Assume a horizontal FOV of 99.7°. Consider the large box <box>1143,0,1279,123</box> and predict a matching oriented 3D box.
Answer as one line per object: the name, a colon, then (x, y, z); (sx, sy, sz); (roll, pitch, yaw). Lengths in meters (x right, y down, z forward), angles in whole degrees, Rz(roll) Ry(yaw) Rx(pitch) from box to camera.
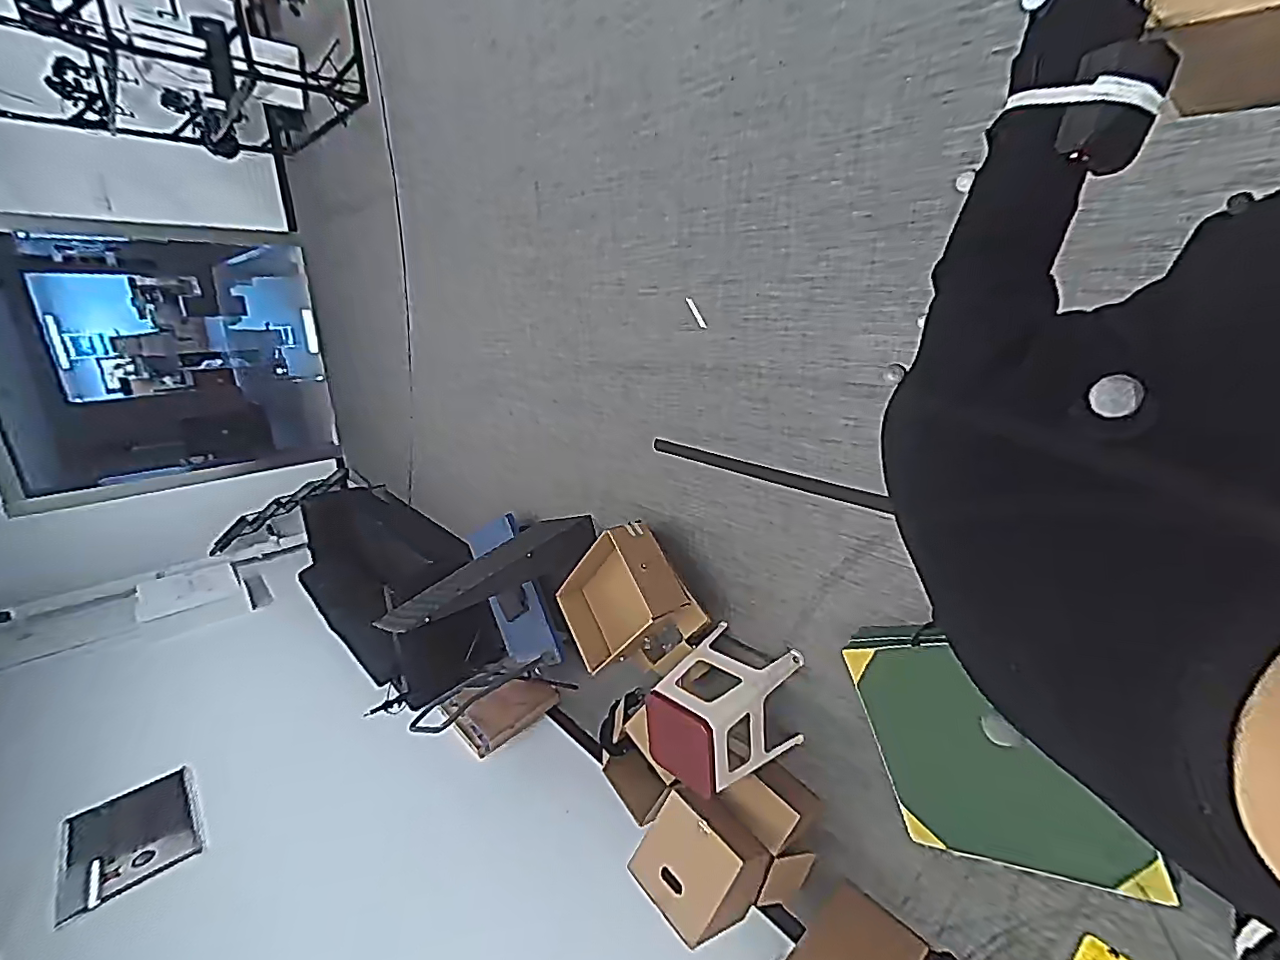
large box: (0.585, -0.426, 0.281); (0.408, 0.320, 0.320); (21, 120, 42)
